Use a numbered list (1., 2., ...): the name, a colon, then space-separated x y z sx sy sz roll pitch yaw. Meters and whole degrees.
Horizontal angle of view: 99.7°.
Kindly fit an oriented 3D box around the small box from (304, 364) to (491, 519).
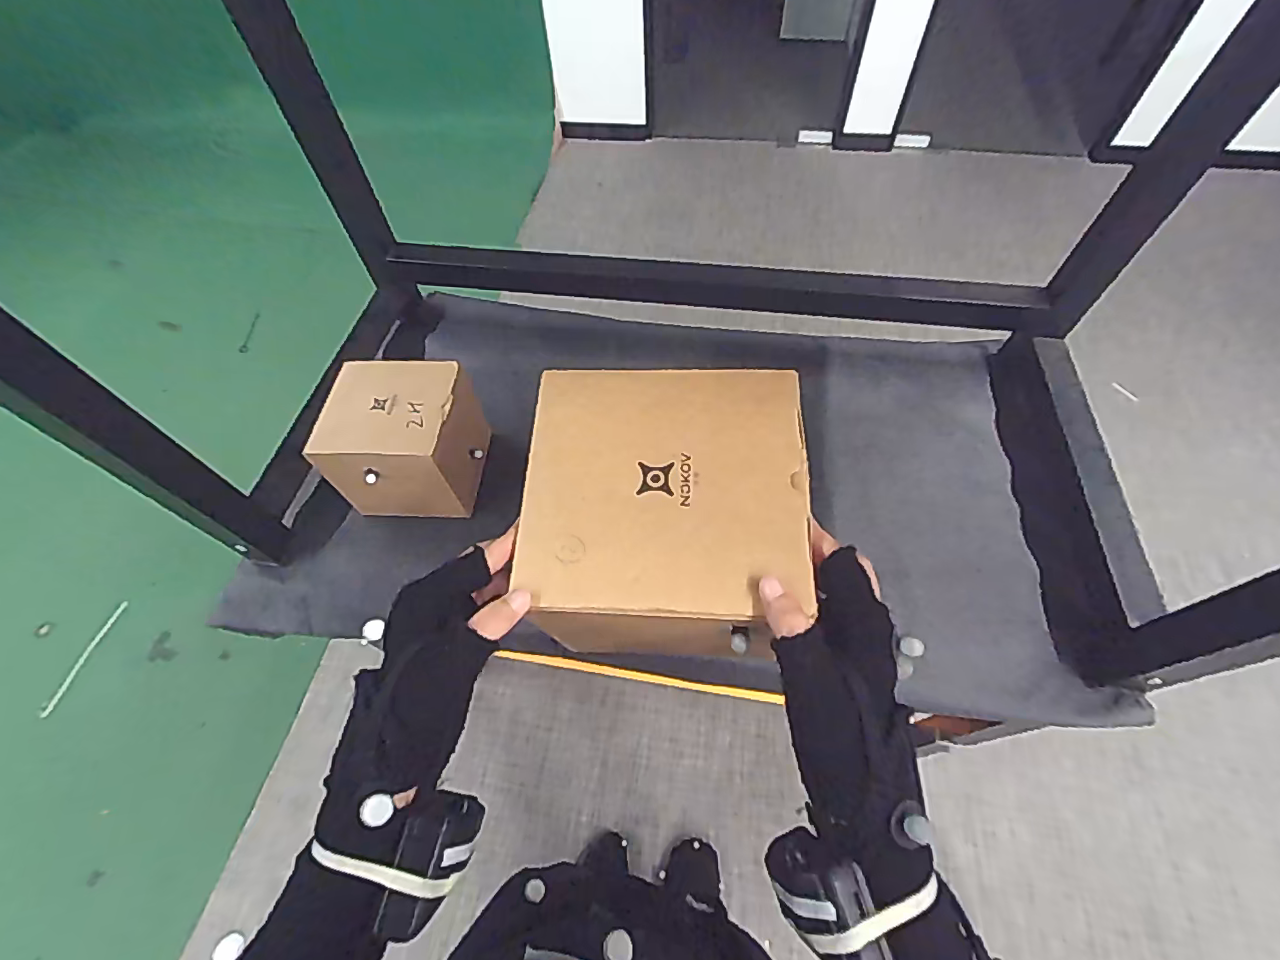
1. small box: -0.341 -0.052 0.801 0.179 0.176 0.168 2 58 3
